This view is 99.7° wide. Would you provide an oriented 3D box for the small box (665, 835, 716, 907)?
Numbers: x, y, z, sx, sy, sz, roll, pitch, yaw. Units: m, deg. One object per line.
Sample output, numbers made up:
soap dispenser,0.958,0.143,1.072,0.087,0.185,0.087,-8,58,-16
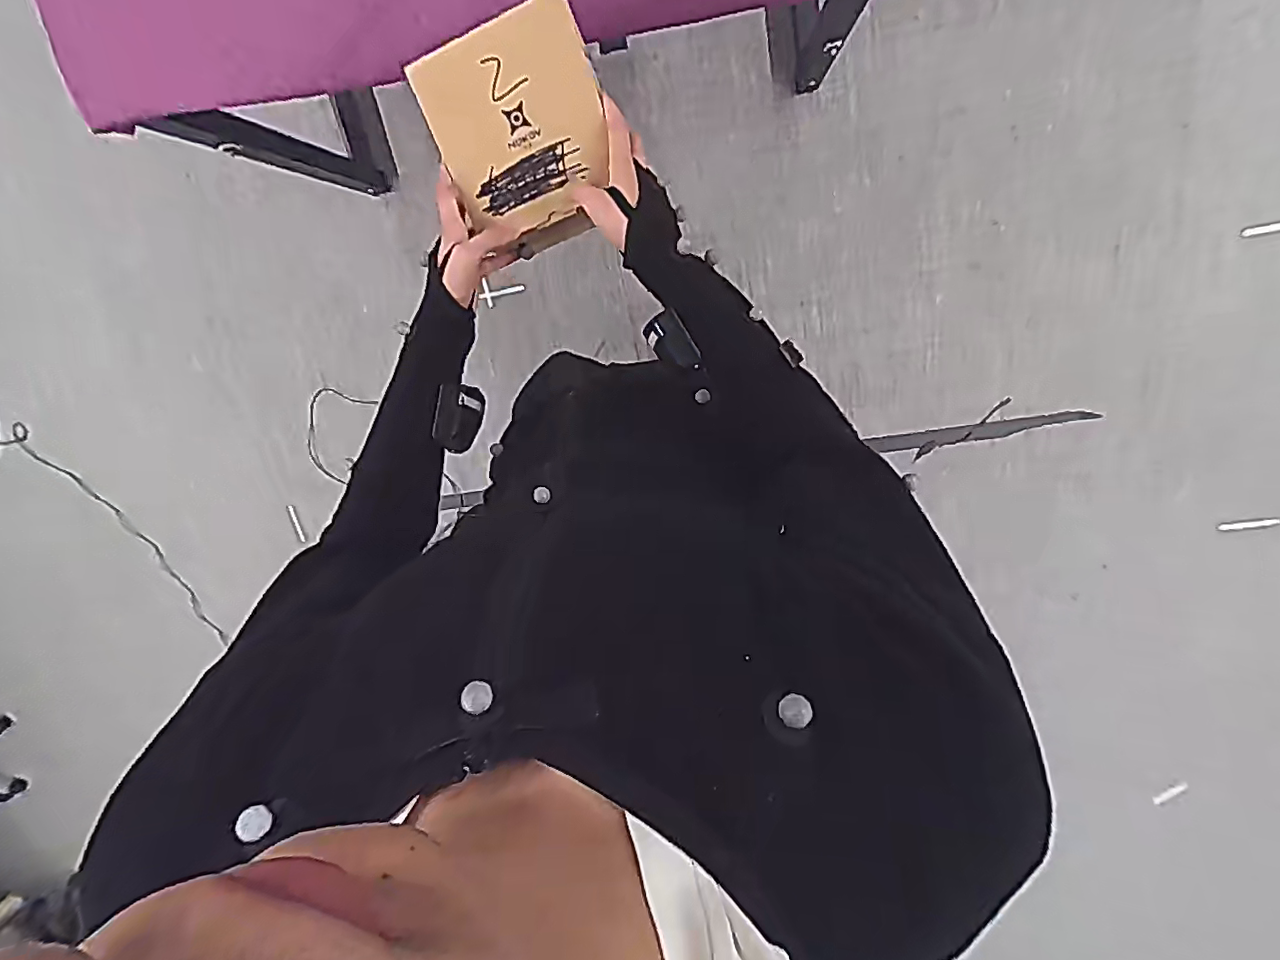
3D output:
small box,0.198,1.518,2.106,0.179,0.176,0.168,-7,109,9
